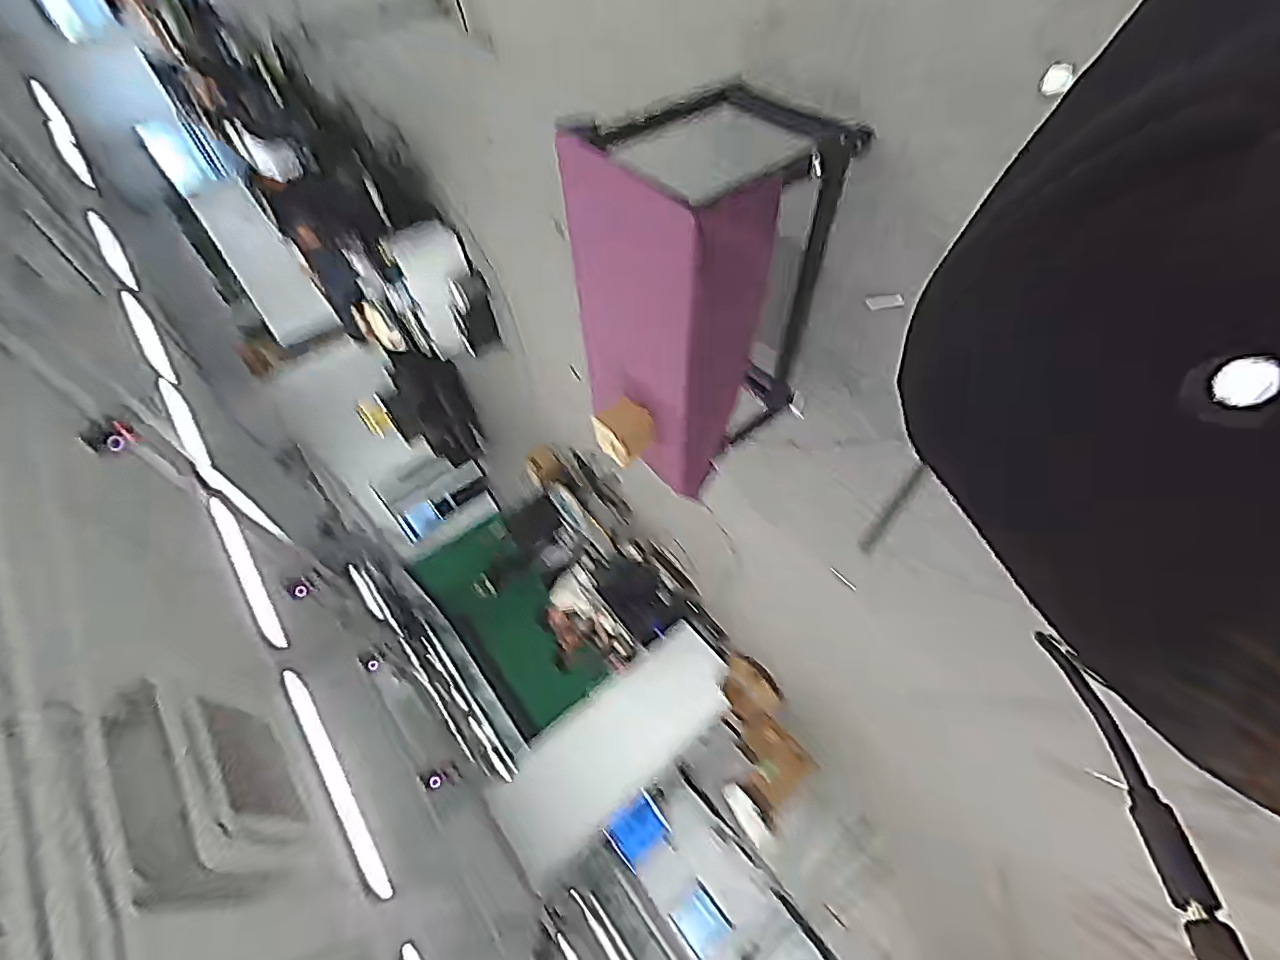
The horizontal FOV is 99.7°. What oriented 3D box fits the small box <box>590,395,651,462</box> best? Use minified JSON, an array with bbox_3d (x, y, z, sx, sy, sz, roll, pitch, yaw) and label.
[{"bbox_3d":[-0.070,-0.210,2.139,0.179,0.176,0.168,40,154,38],"label":"small box"}]
